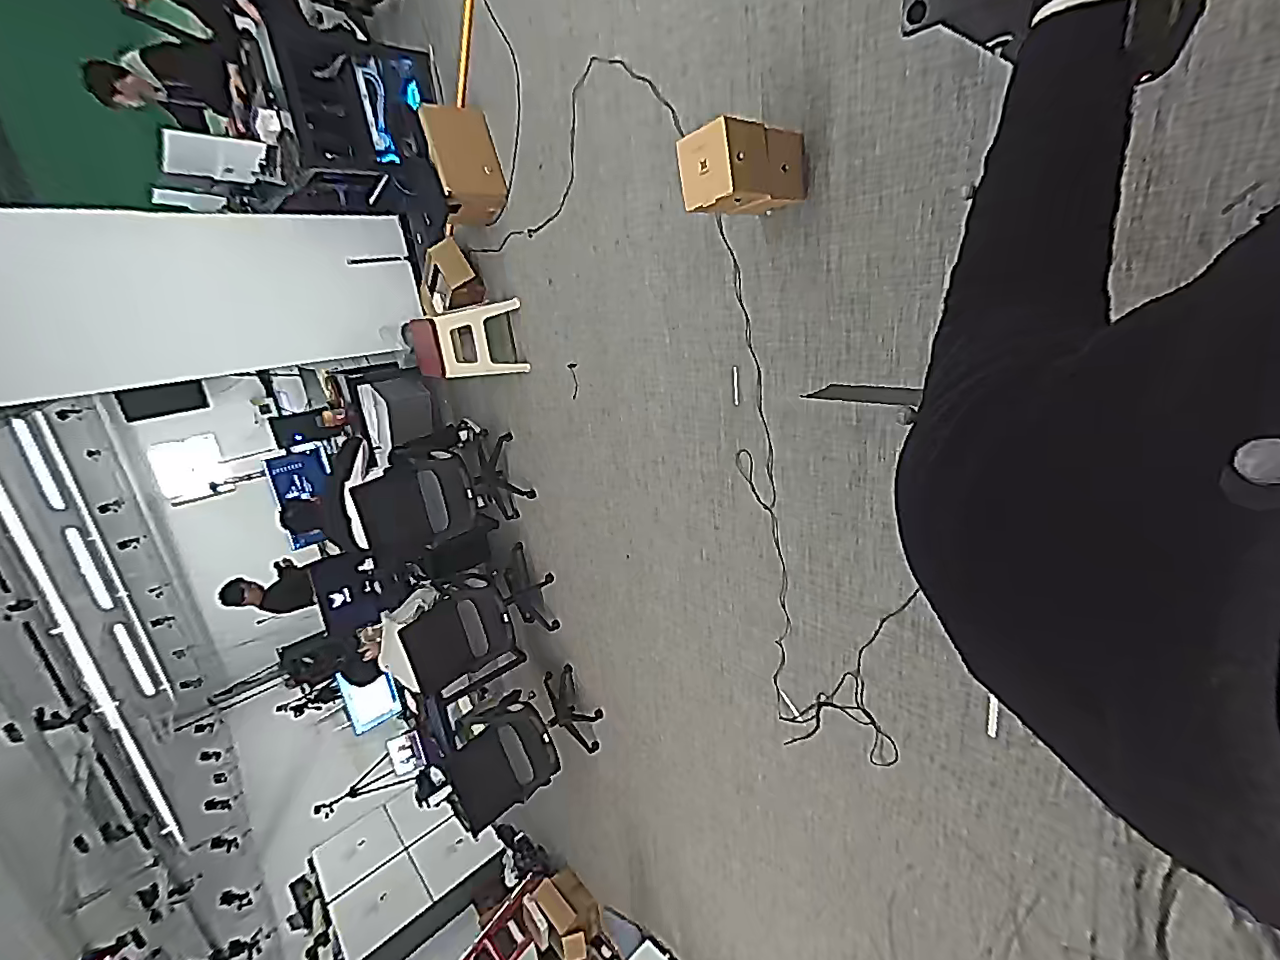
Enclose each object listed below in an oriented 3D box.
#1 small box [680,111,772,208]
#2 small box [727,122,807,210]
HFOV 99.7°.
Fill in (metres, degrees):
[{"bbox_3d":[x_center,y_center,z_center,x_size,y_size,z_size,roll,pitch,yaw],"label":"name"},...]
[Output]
[{"bbox_3d":[0.231,-0.832,1.422,0.168,0.176,0.179,6,110,49],"label":"small box"},{"bbox_3d":[0.353,-0.873,1.521,0.168,0.176,0.179,11,116,48],"label":"small box"}]
